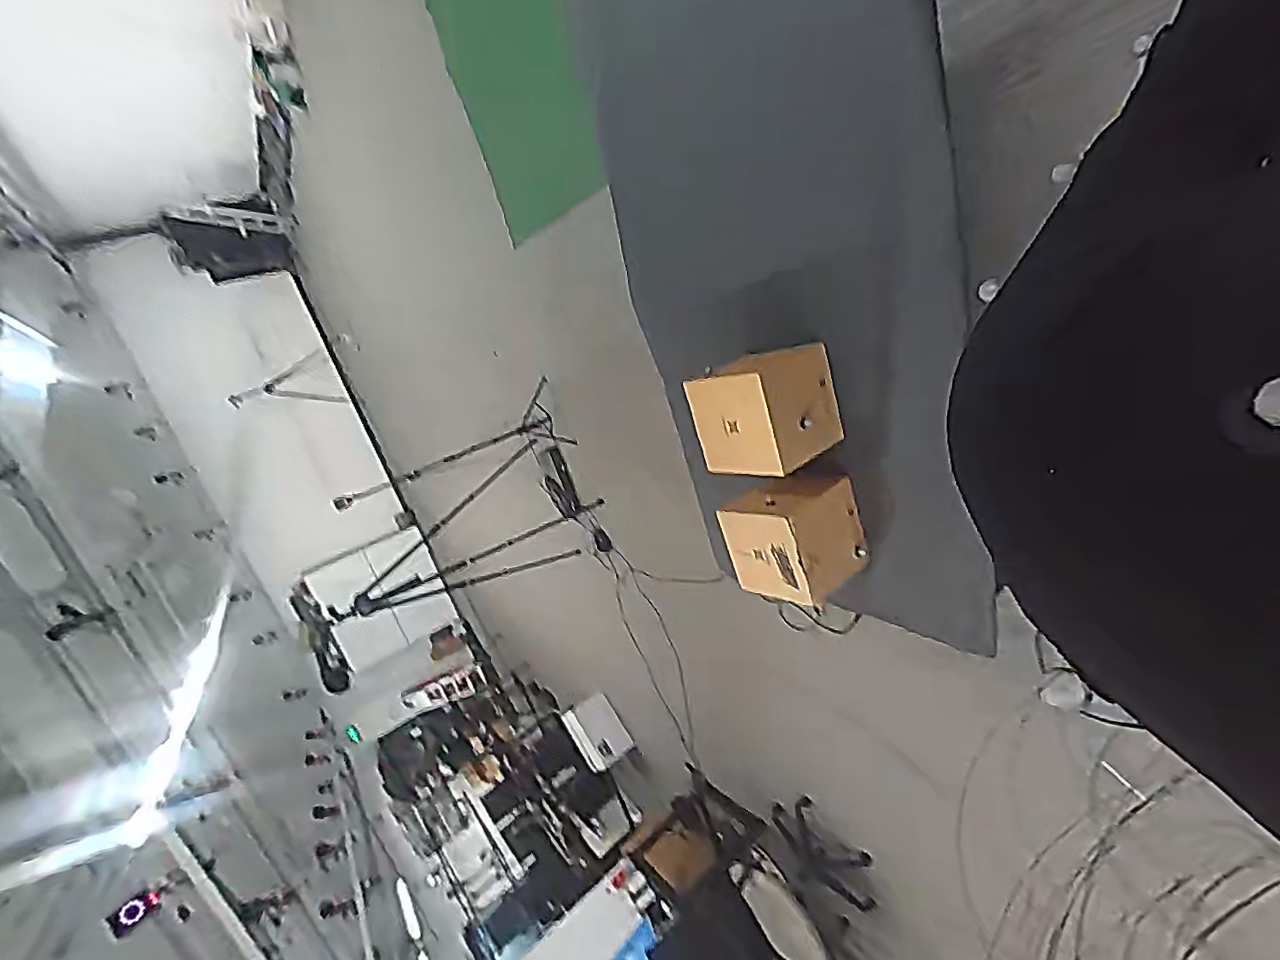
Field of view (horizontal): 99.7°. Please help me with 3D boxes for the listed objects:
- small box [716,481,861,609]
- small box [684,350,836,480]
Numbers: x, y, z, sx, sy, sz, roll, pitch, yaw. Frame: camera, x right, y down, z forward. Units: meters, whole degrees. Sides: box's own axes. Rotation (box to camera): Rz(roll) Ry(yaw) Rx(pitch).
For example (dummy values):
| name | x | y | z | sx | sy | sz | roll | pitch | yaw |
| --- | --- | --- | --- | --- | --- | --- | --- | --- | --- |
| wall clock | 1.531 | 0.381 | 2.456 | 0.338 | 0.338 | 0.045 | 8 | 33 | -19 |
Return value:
| name | x | y | z | sx | sy | sz | roll | pitch | yaw |
| --- | --- | --- | --- | --- | --- | --- | --- | --- | --- |
| small box | 0.274 | 0.107 | 0.978 | 0.179 | 0.176 | 0.168 | 0 | 113 | 58 |
| small box | 0.208 | -0.111 | 0.912 | 0.179 | 0.176 | 0.168 | 5 | 118 | 56 |
